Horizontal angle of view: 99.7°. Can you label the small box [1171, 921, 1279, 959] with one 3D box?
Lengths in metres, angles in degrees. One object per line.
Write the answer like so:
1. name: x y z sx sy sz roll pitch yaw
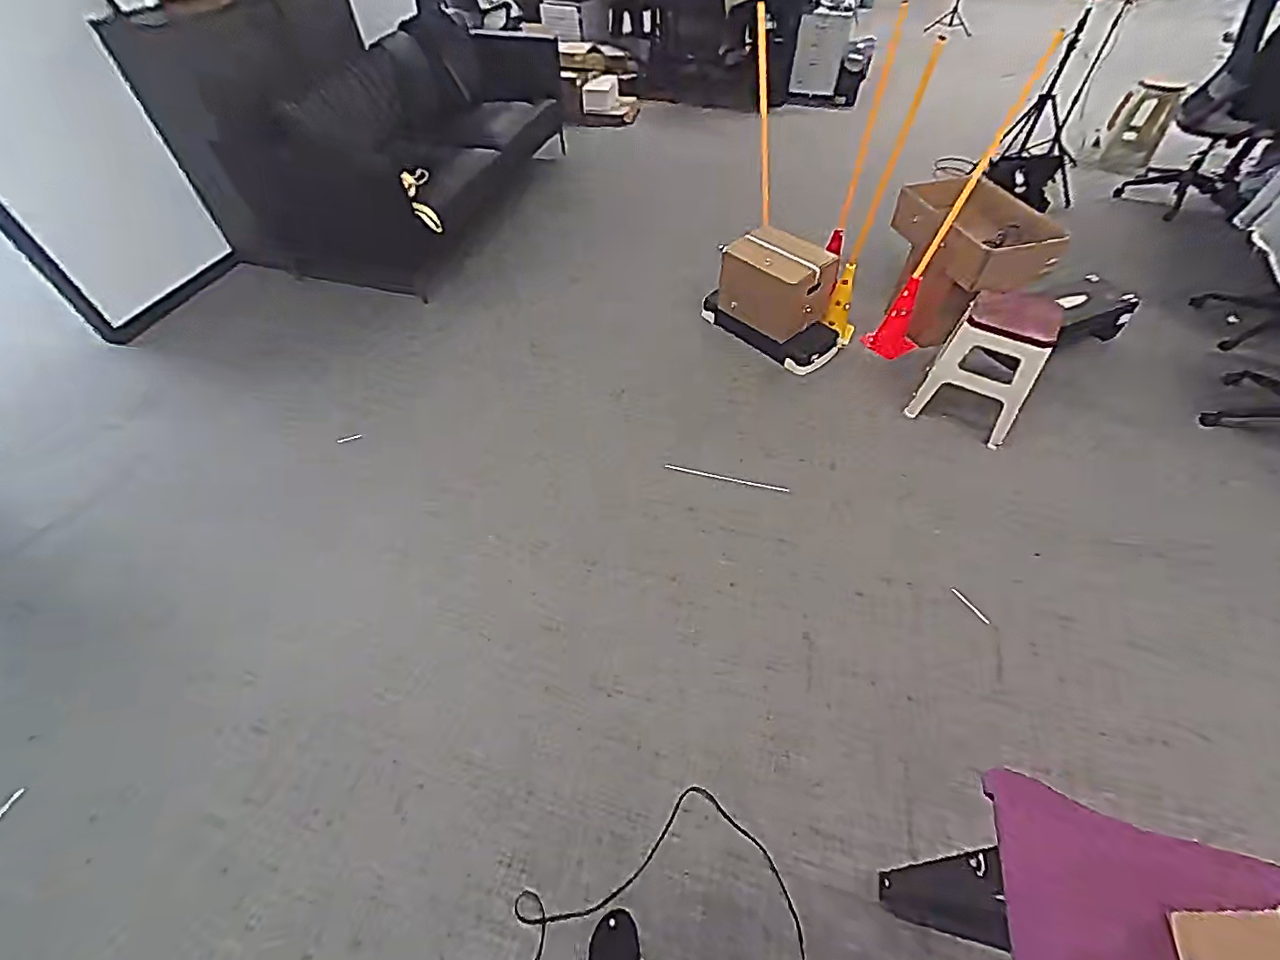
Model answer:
1. small box: 0.729 0.578 0.558 0.179 0.176 0.168 8 50 9
